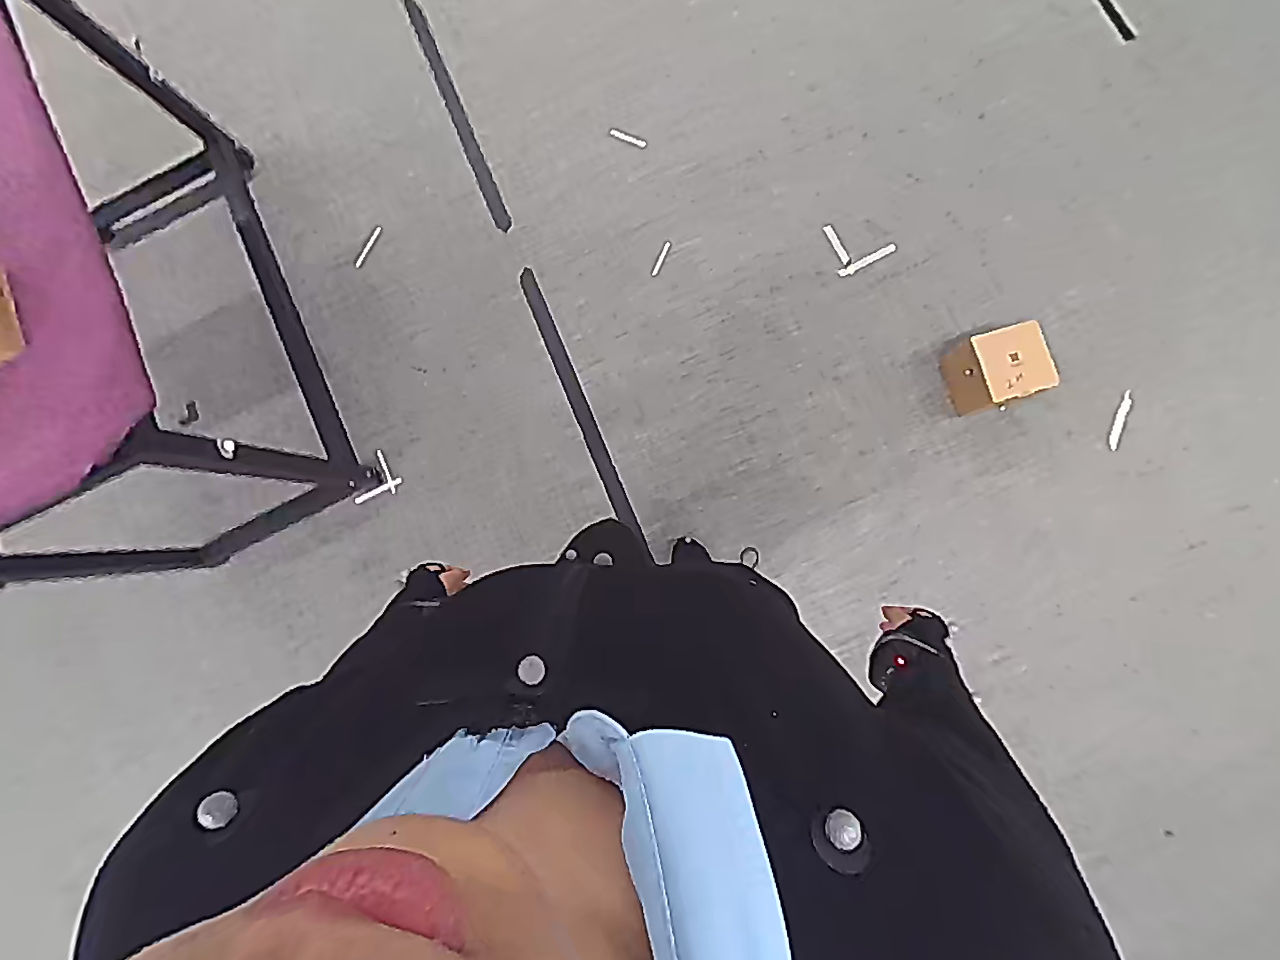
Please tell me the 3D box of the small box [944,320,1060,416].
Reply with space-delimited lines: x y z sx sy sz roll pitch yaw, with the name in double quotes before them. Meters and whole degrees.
"small box" 0.921 -0.281 1.395 0.168 0.176 0.179 -15 84 4
